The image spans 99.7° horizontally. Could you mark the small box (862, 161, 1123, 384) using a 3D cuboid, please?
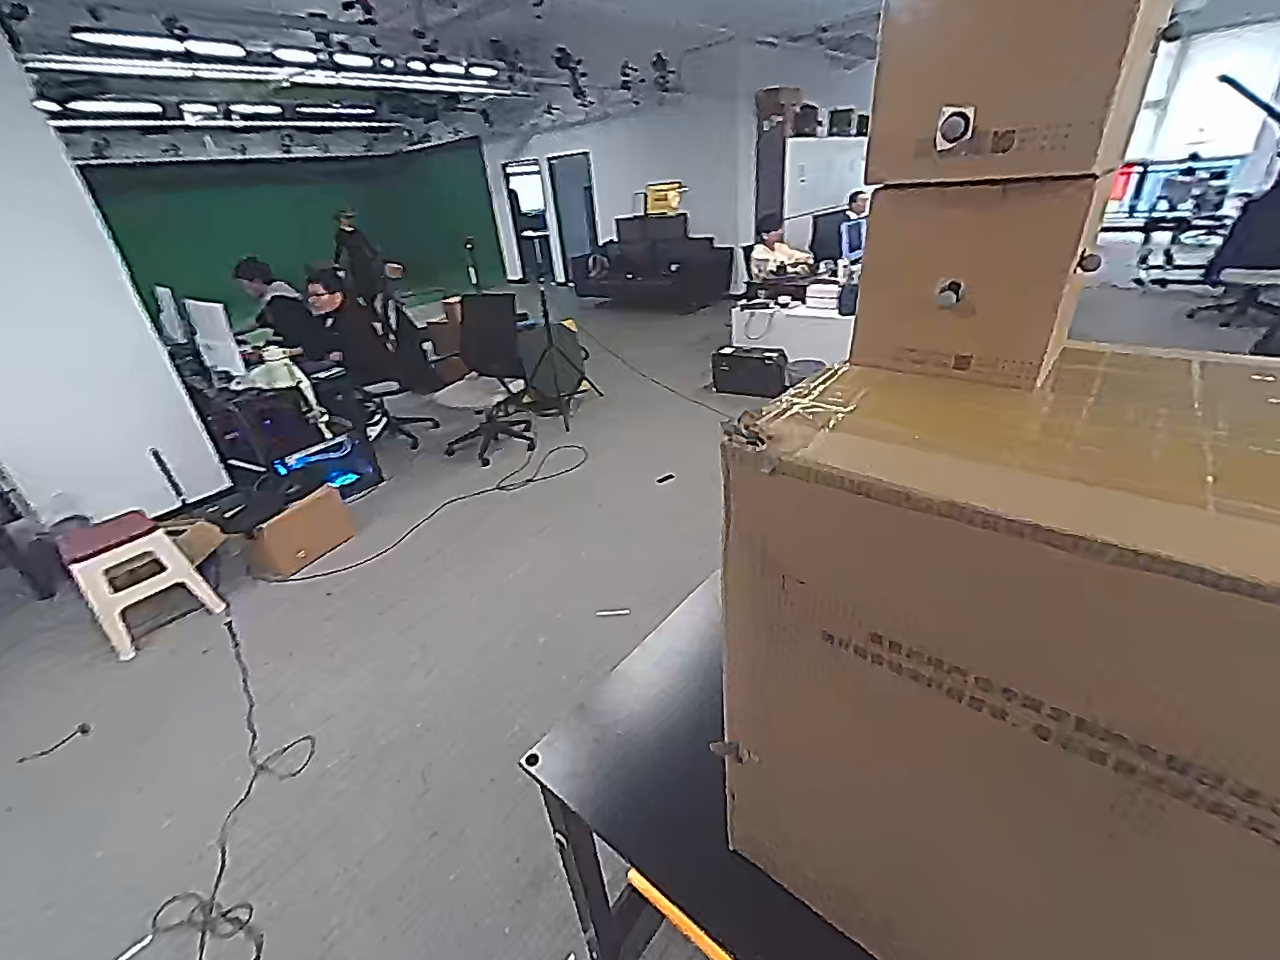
[{"bbox_3d":[0.329,-0.203,0.524,0.168,0.176,0.179,19,37,36],"label":"small box"}]

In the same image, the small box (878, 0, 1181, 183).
[{"bbox_3d":[0.309,-0.339,0.434,0.168,0.176,0.179,19,37,38],"label":"small box"}]
